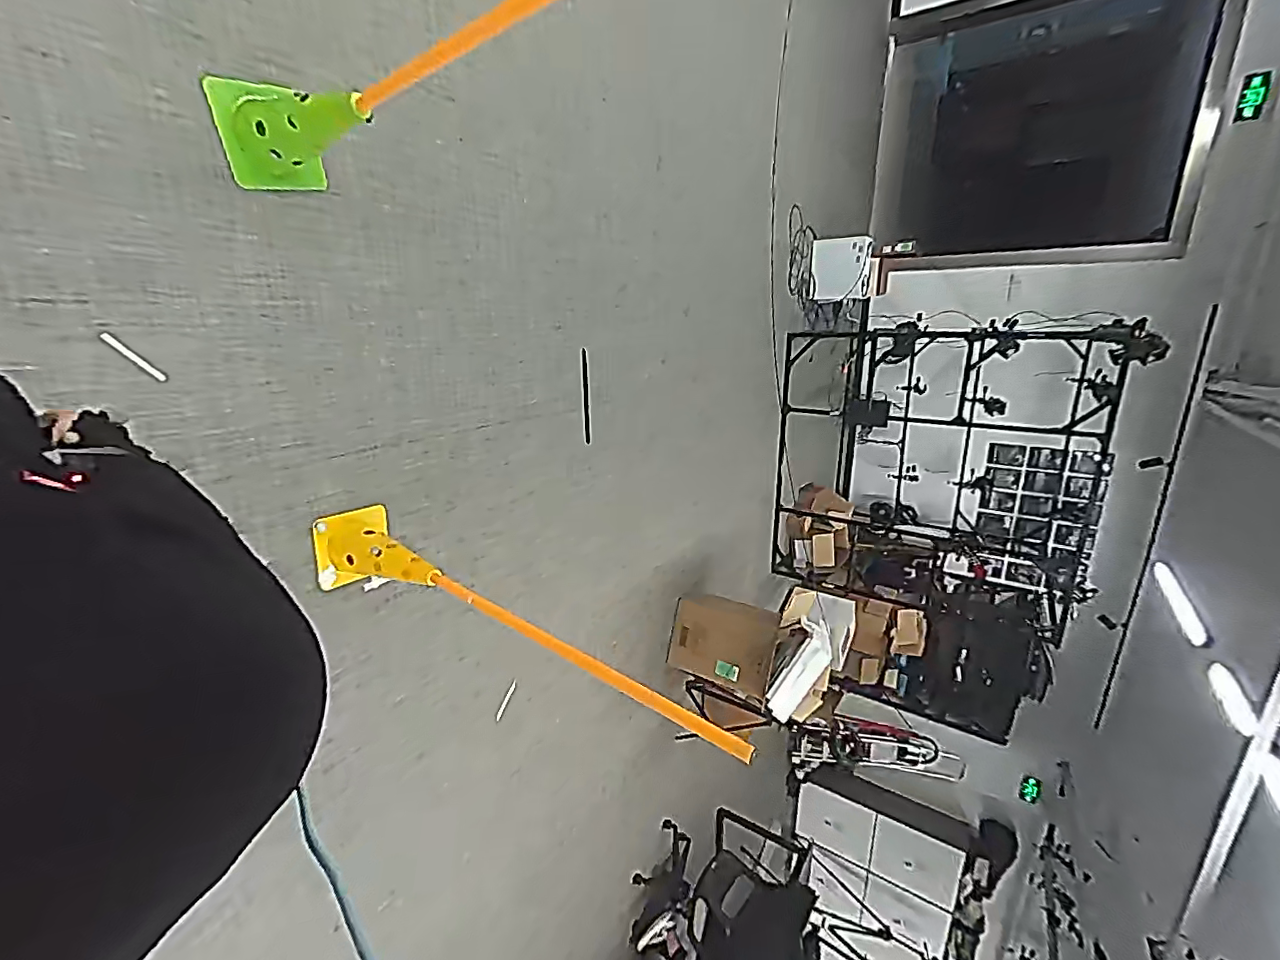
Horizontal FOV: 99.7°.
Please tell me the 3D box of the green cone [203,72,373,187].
[{"bbox_3d":[-0.660,-0.717,1.079,0.200,0.368,0.202,-36,130,-48],"label":"green cone"}]
